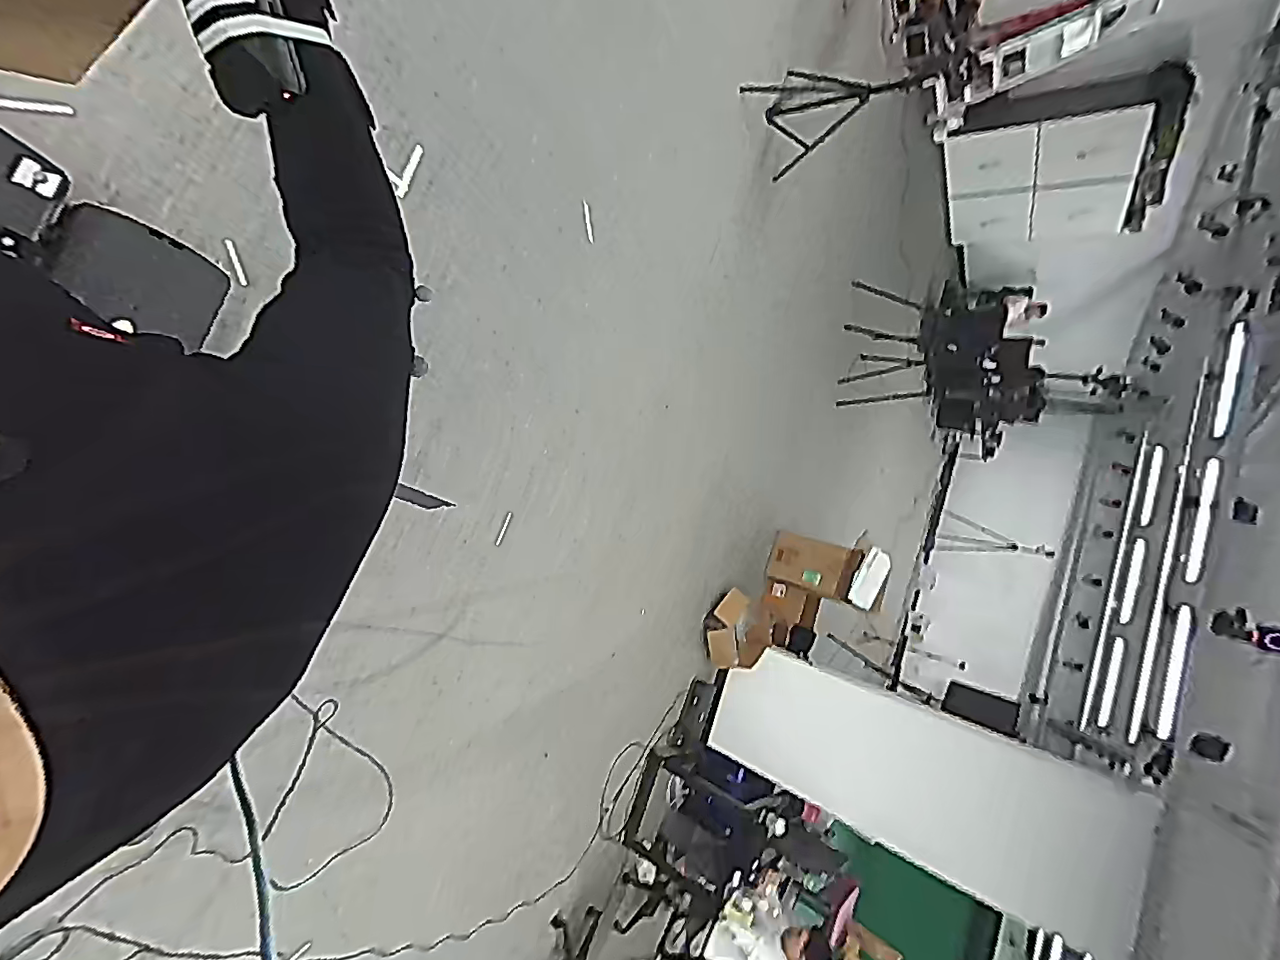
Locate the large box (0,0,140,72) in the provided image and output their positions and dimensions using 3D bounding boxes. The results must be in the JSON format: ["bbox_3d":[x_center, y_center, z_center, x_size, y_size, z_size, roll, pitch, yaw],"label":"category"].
[{"bbox_3d":[-0.519,-0.440,0.219,0.408,0.320,0.320,-20,119,-50],"label":"large box"}]
